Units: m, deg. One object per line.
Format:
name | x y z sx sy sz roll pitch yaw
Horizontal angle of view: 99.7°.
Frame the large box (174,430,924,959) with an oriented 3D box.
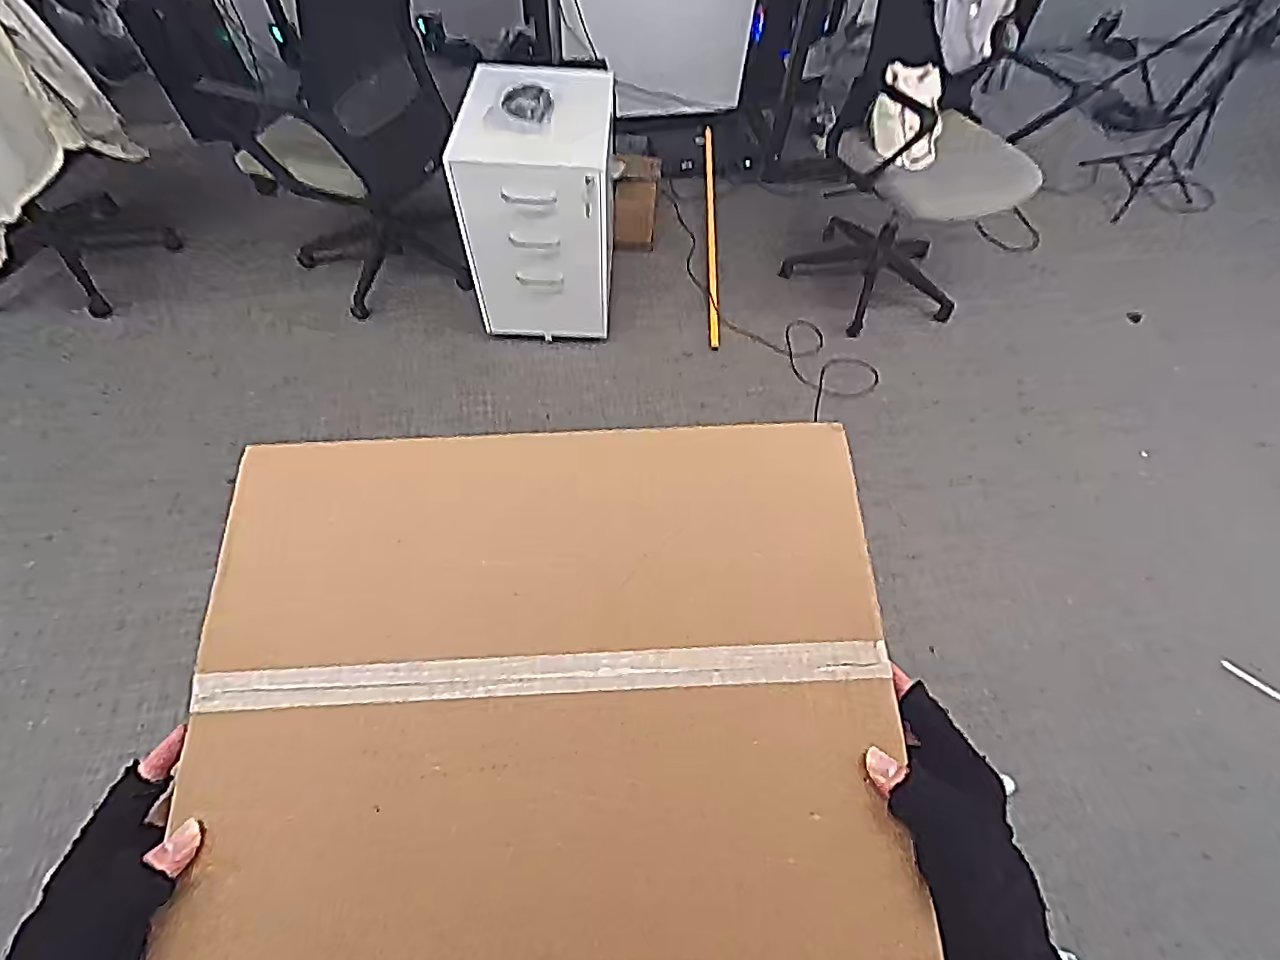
large box | -0.054 0.169 0.471 0.408 0.320 0.320 -2 71 0
